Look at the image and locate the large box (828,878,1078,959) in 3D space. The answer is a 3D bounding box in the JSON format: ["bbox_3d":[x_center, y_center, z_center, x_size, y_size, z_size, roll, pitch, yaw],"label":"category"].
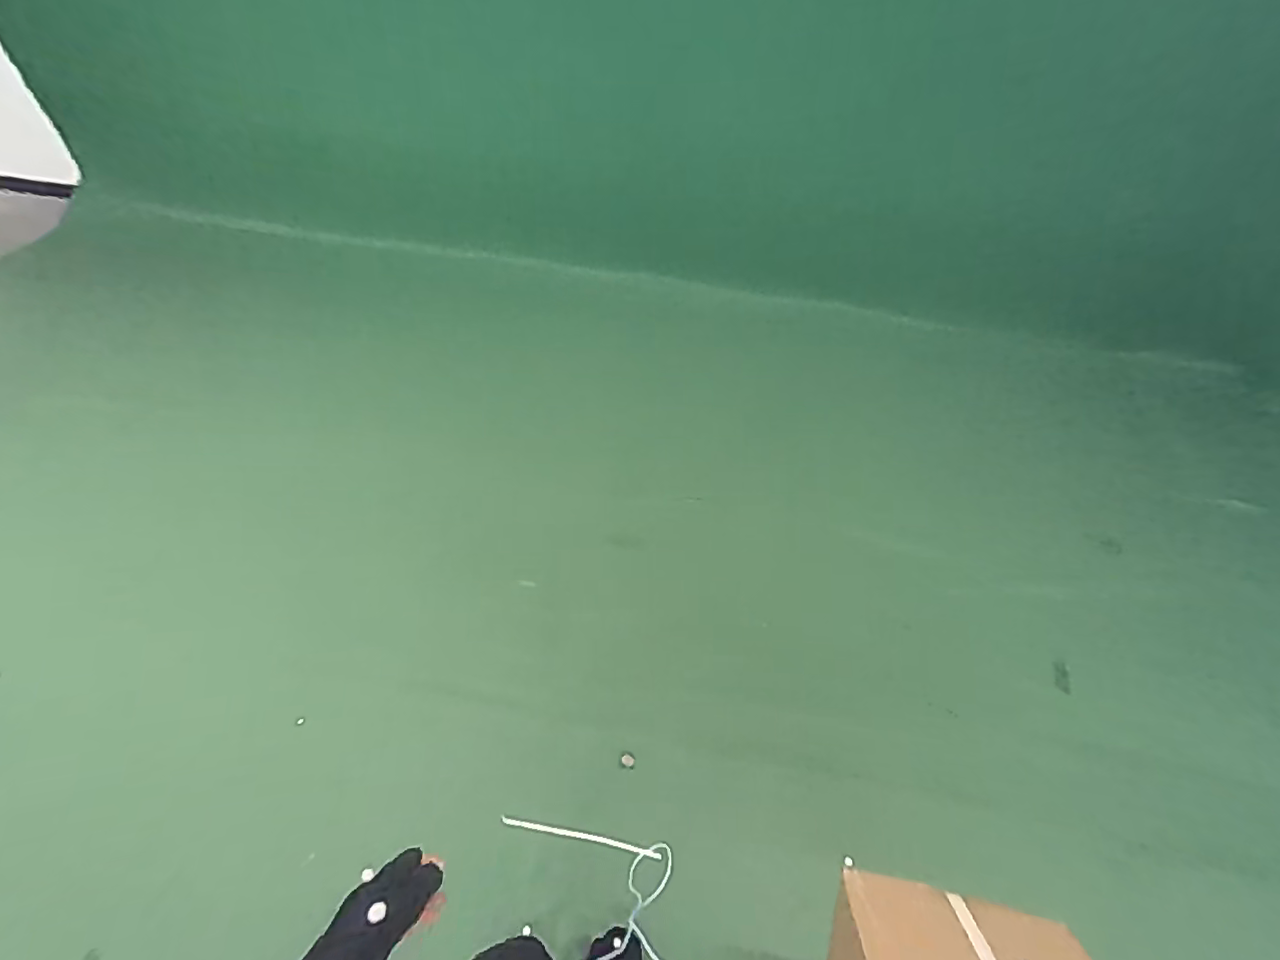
[{"bbox_3d":[0.402,0.775,0.609,0.320,0.408,0.320,9,92,9],"label":"large box"}]
